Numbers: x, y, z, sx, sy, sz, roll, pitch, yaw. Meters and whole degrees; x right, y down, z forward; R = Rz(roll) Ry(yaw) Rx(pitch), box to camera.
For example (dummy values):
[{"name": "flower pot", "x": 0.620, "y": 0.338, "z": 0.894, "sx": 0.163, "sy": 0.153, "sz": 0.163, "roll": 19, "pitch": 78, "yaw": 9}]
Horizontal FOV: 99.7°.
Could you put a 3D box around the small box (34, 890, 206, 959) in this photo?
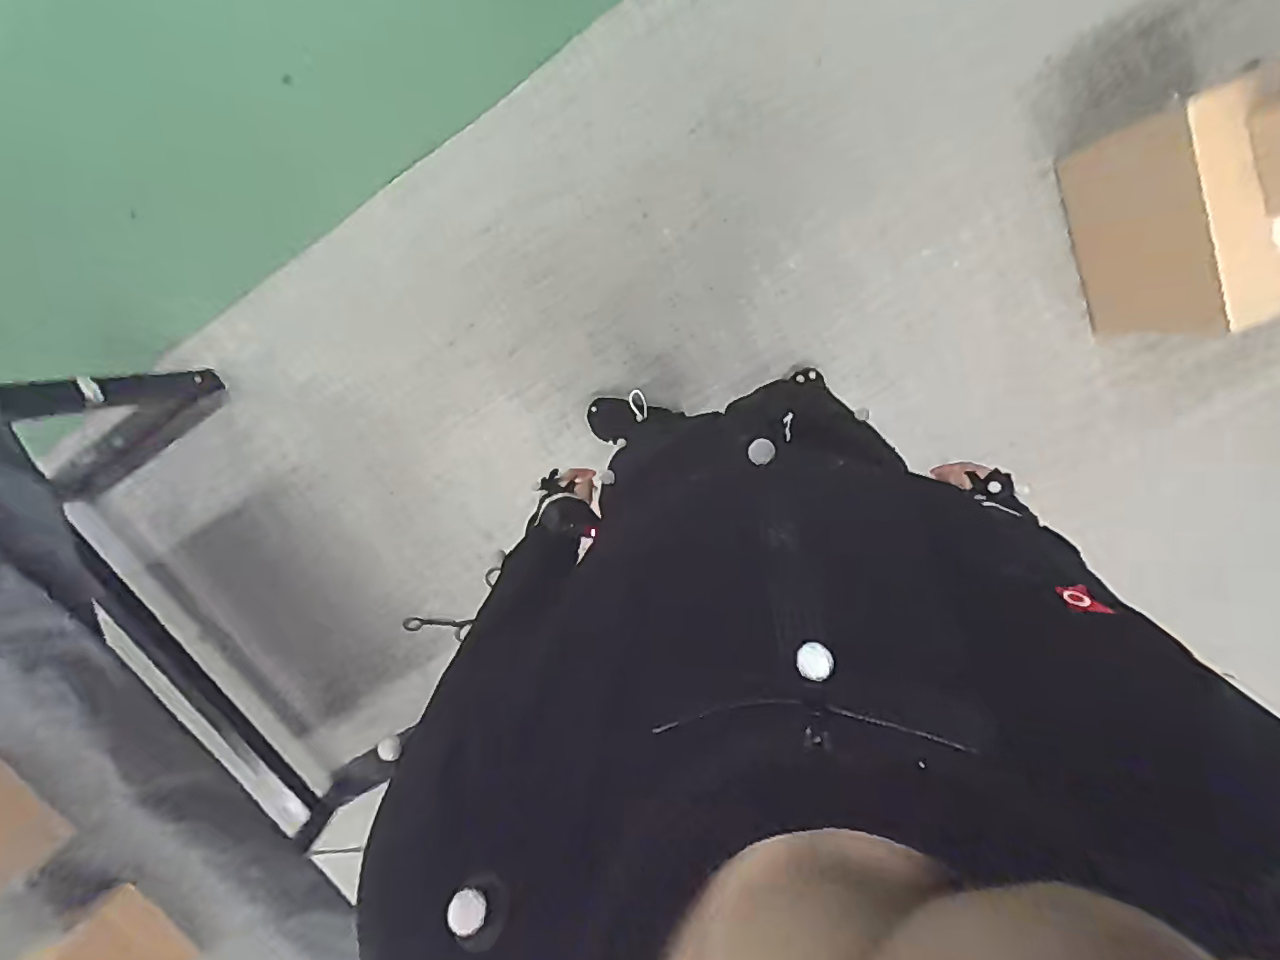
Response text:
[{"name": "small box", "x": -0.781, "y": 0.743, "z": 0.767, "sx": 0.168, "sy": 0.176, "sz": 0.179, "roll": -33, "pitch": 99, "yaw": 11}]

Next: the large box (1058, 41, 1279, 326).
[{"name": "large box", "x": 1.101, "y": -0.546, "z": 1.026, "sx": 0.320, "sy": 0.320, "sz": 0.408, "roll": -25, "pitch": 103, "yaw": 9}]
